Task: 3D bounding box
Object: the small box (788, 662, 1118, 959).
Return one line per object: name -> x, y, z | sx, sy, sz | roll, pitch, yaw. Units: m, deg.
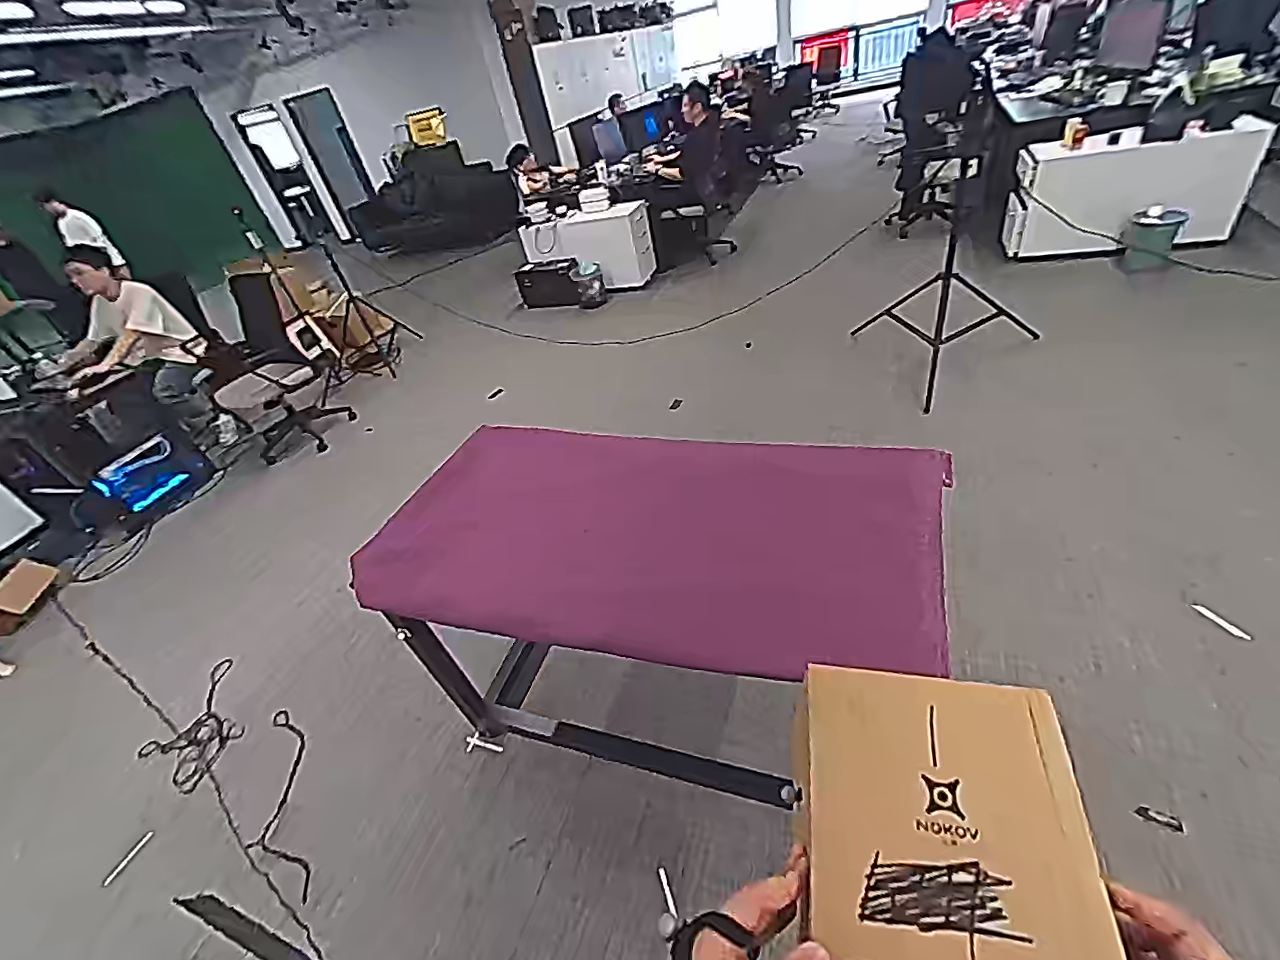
small box -> 0.203, 0.262, 0.407 | 0.168, 0.176, 0.179 | 3, 50, 13
